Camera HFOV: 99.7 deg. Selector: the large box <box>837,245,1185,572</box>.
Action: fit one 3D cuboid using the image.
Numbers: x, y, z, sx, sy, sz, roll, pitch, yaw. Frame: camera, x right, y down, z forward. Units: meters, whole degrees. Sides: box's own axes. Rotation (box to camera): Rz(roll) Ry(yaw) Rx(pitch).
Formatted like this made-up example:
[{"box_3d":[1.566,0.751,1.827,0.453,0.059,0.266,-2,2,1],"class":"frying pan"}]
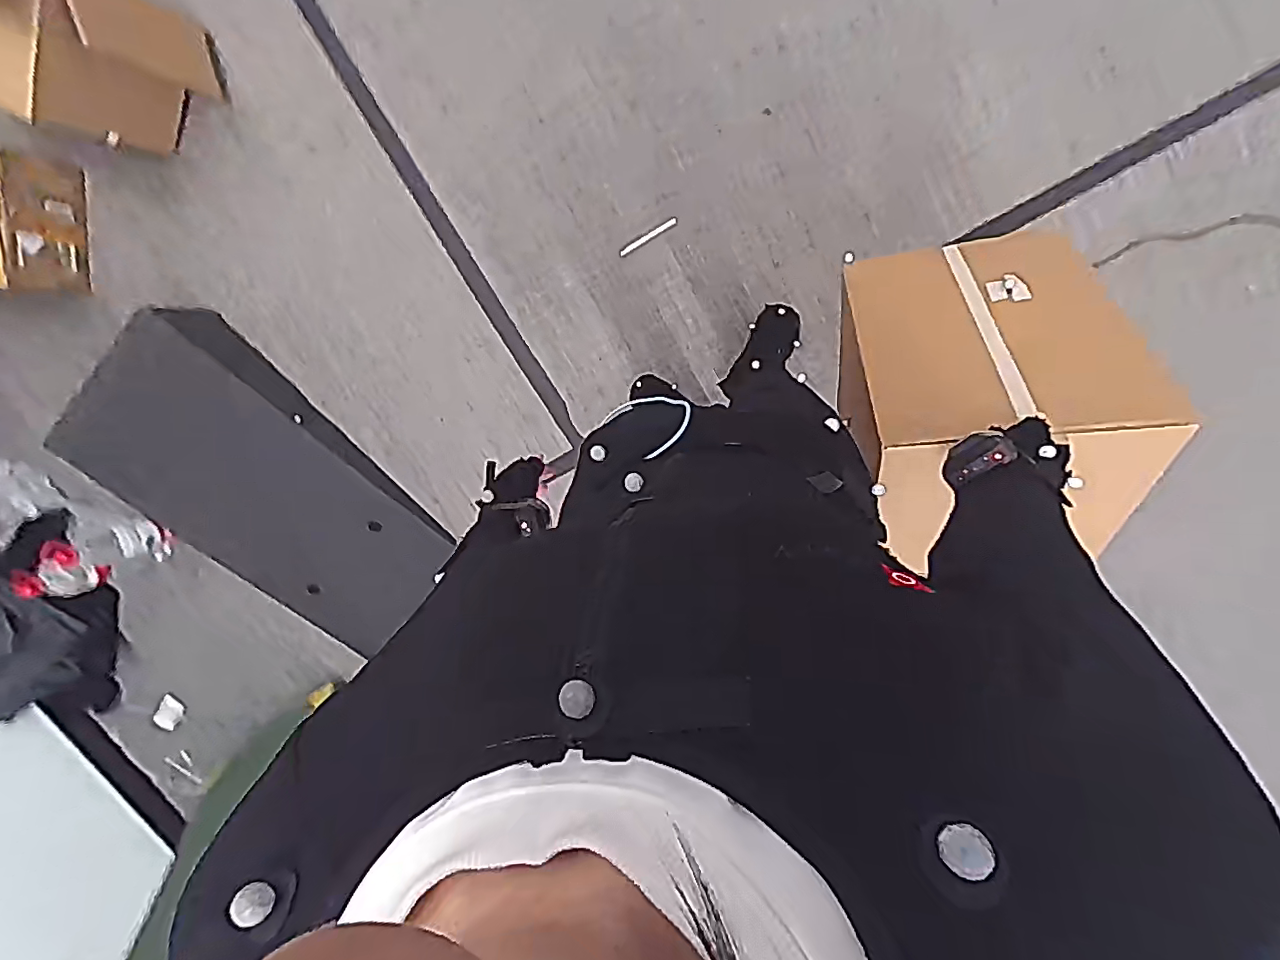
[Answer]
[{"box_3d":[0.501,-0.105,0.855,0.320,0.408,0.320,-3,140,13],"class":"large box"}]
